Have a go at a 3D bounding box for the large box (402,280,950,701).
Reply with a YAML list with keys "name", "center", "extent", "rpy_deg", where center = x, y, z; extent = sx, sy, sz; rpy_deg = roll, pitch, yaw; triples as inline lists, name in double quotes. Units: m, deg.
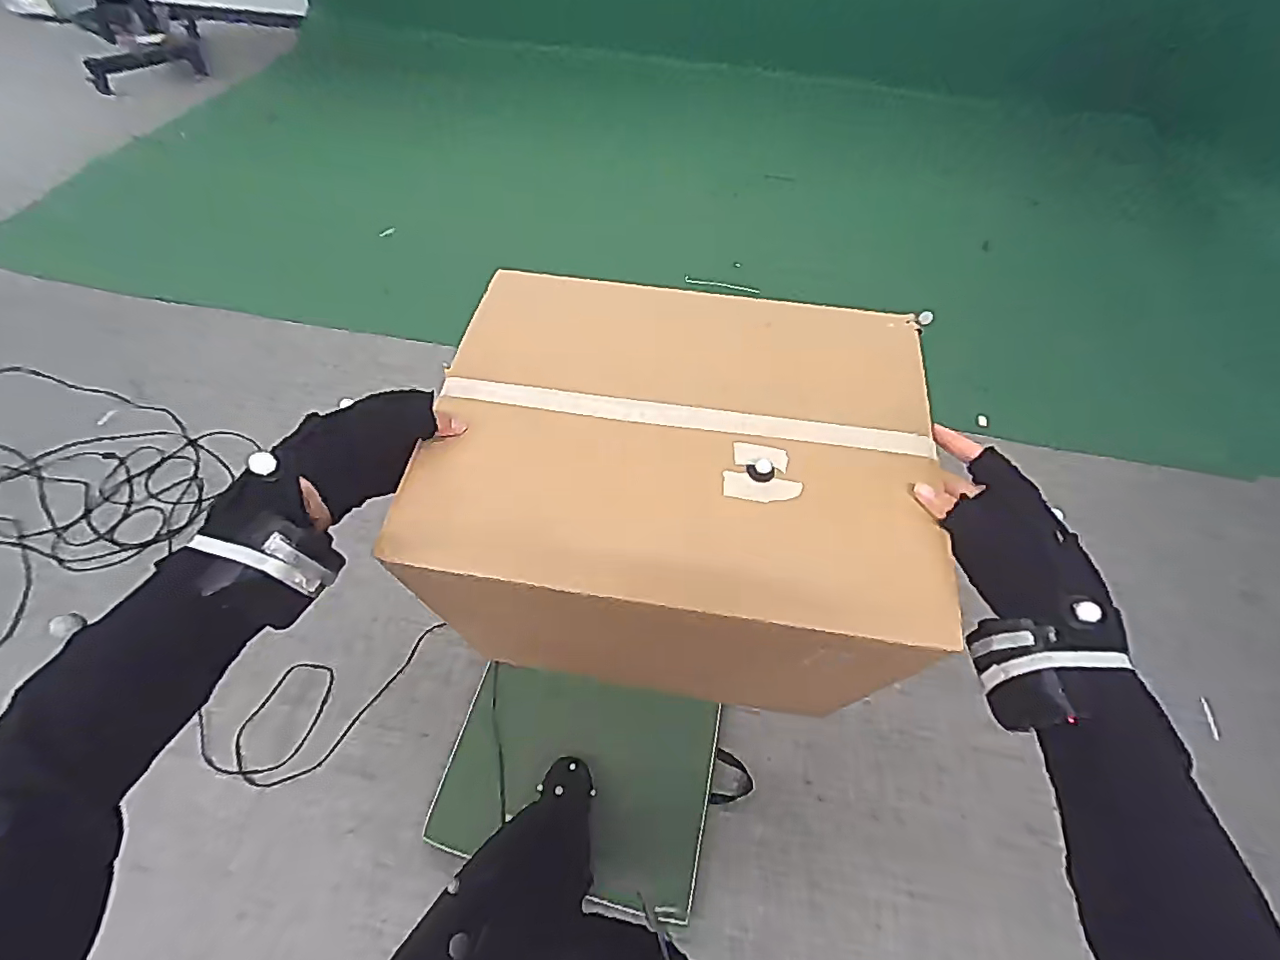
- name: "large box"
  center: [0.036, 0.026, 0.586]
  extent: [0.408, 0.320, 0.320]
  rpy_deg: [8, 60, 4]
